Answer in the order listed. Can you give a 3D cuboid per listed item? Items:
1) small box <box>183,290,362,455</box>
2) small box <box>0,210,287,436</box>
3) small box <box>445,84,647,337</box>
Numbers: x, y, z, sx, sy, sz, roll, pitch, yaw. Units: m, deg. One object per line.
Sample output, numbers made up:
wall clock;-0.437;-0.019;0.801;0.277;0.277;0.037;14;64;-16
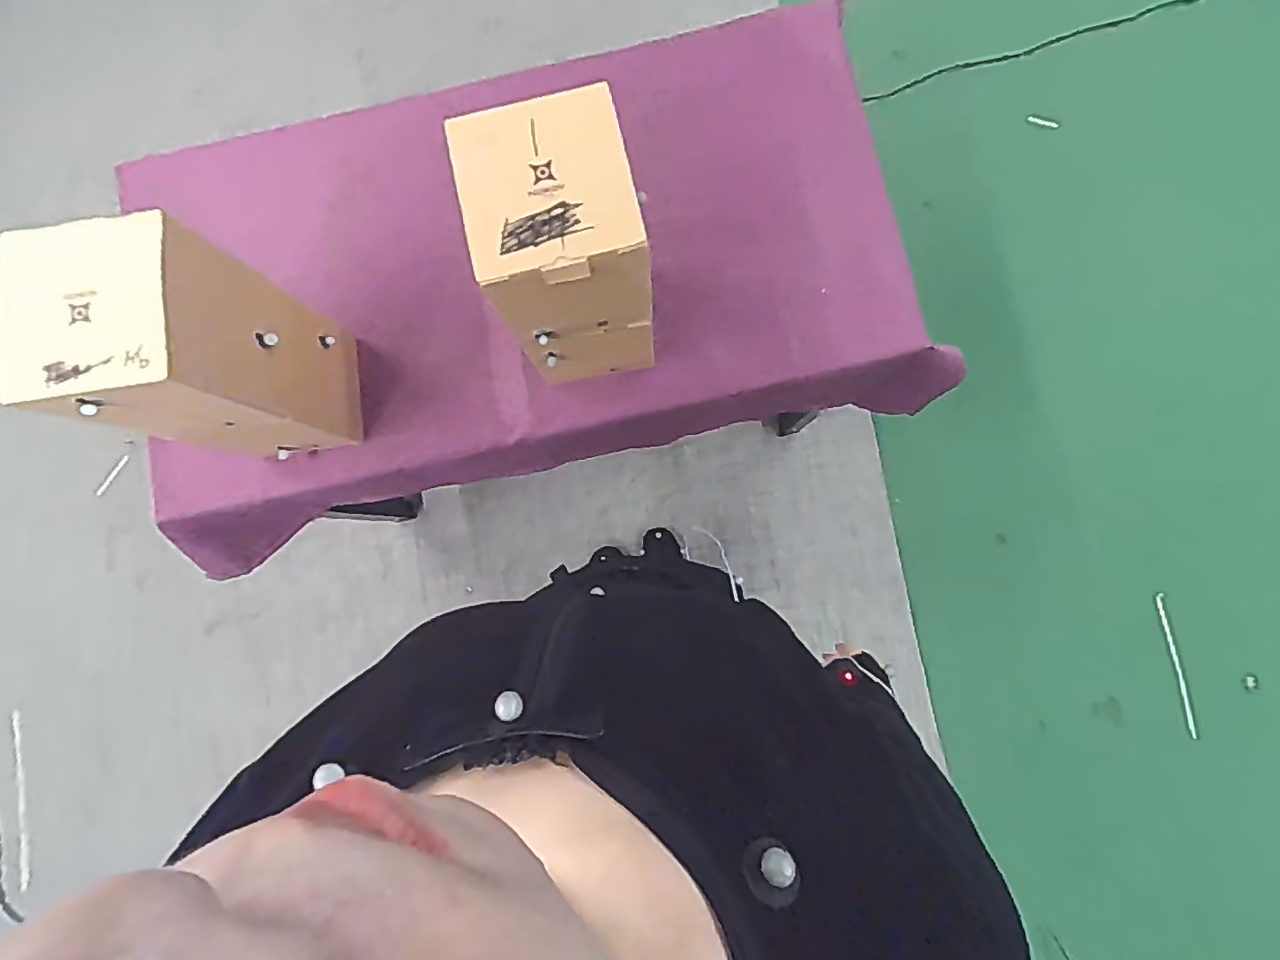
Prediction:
small box;-0.518;-0.141;0.761;0.168;0.176;0.179;-8;84;2
small box;-0.525;-0.159;0.597;0.168;0.176;0.179;-8;82;3
small box;-0.090;-0.273;0.594;0.168;0.176;0.179;-13;82;1
